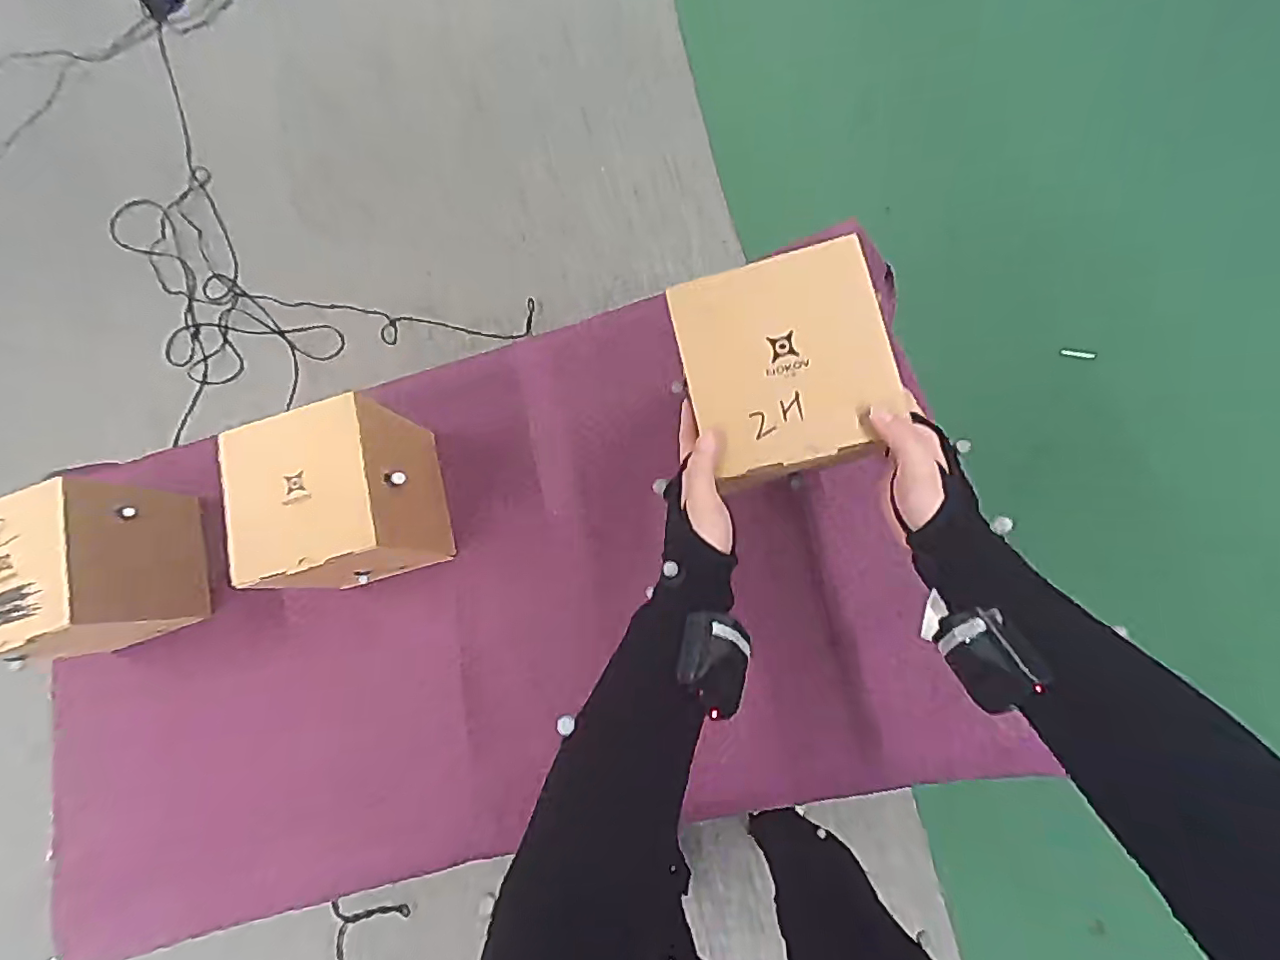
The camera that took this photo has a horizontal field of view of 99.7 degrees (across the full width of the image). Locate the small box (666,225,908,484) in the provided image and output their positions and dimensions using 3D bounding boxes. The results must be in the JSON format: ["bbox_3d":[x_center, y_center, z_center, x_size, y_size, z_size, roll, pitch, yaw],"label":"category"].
[{"bbox_3d":[0.128,-0.102,0.520,0.168,0.176,0.179,-13,83,9],"label":"small box"}]

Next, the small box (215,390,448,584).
[{"bbox_3d":[-0.352,0.020,0.642,0.168,0.176,0.179,-16,79,5],"label":"small box"}]
